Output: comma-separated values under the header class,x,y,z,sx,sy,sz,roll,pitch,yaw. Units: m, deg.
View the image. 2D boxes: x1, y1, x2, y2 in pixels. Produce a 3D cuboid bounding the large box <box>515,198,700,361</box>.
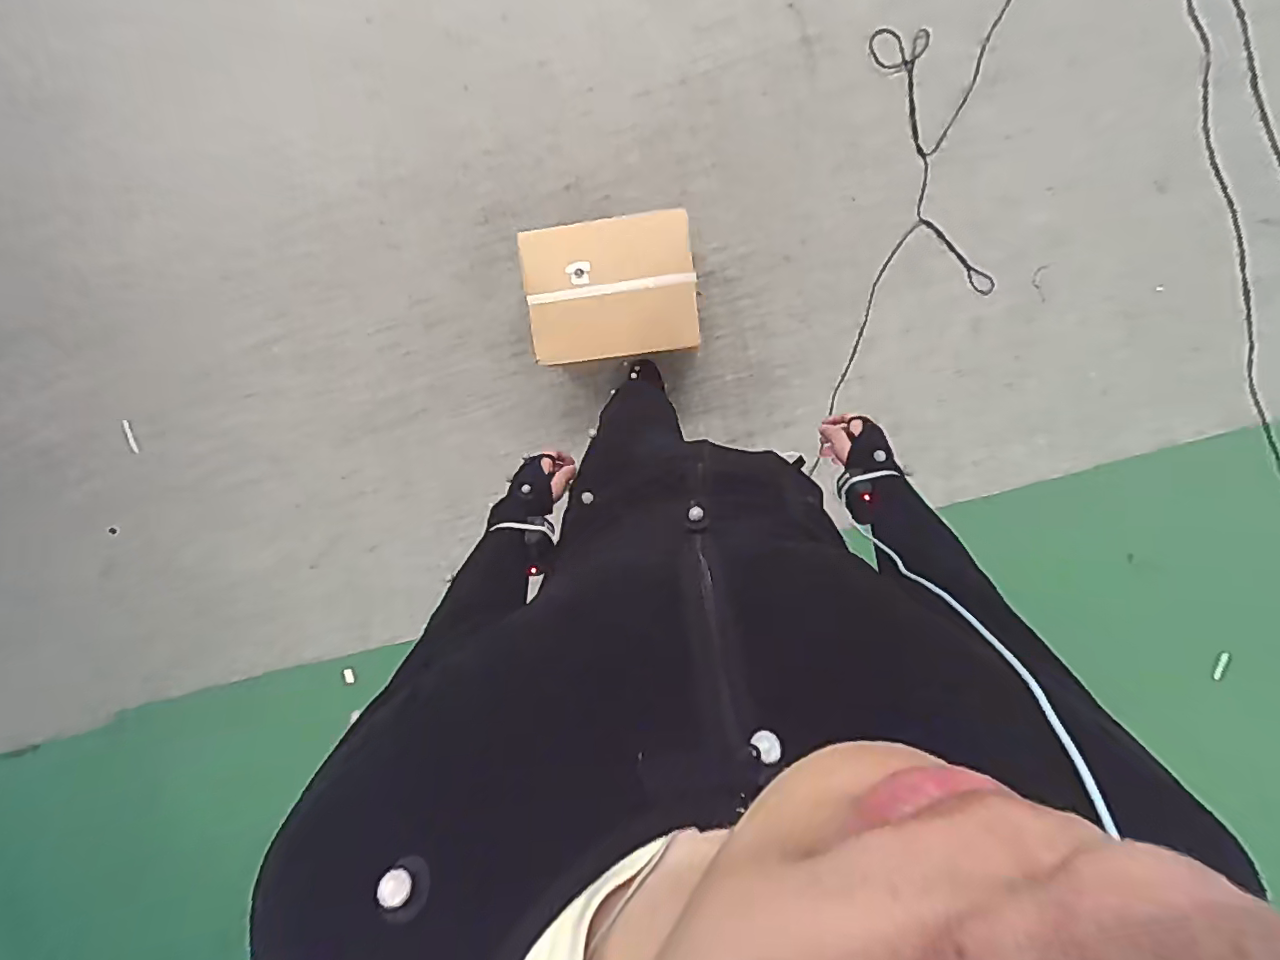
class,x,y,z,sx,sy,sz,roll,pitch,yaw
large box,-0.065,-0.496,1.413,0.408,0.320,0.320,-7,101,6
